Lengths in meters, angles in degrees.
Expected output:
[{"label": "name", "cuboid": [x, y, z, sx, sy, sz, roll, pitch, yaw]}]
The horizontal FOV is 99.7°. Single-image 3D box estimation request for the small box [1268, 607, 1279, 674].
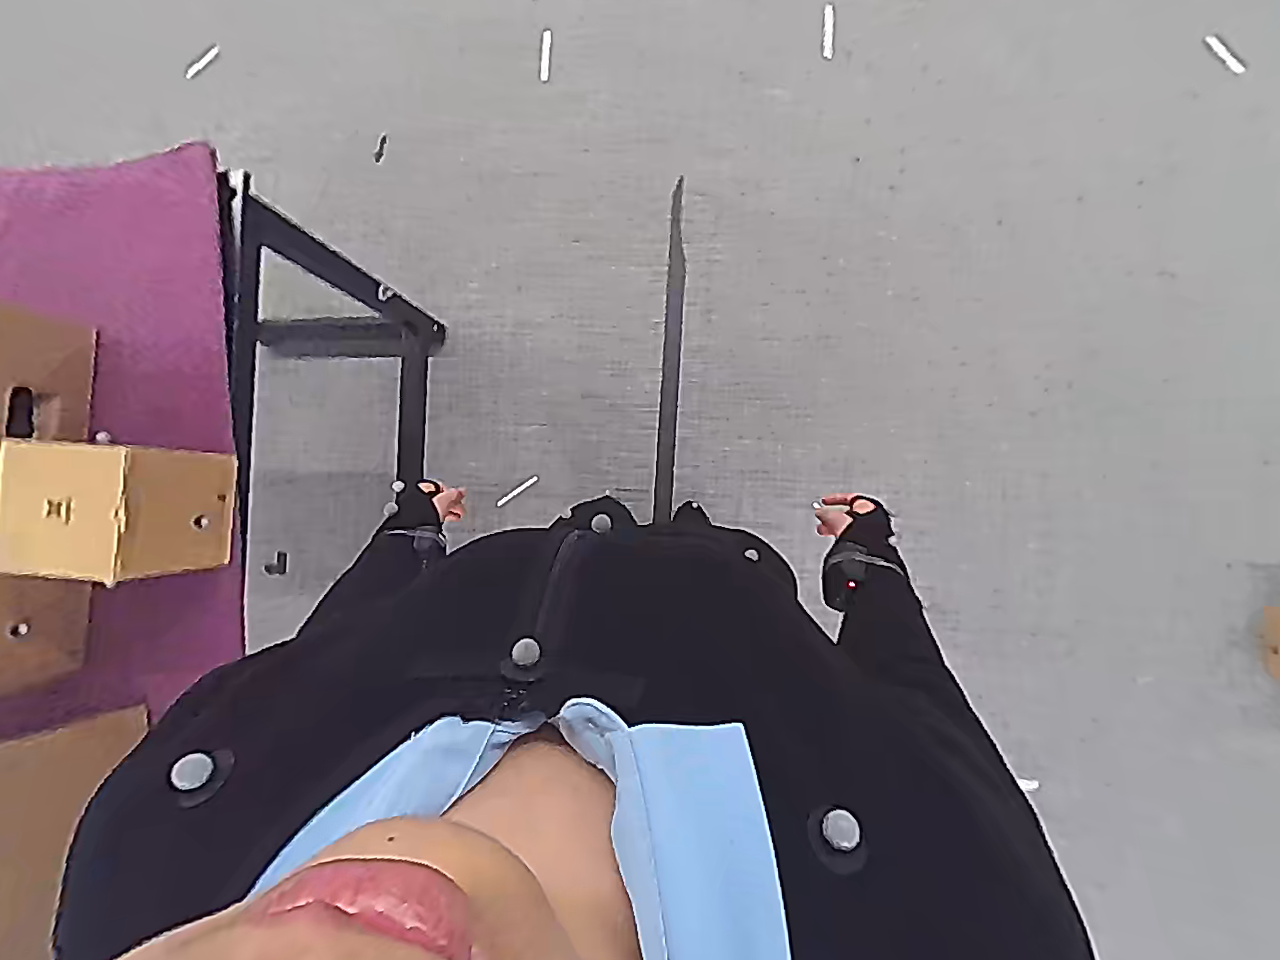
[{"label": "small box", "cuboid": [1.634, 0.392, 1.257, 0.179, 0.176, 0.168, 0, 88, 5]}]
